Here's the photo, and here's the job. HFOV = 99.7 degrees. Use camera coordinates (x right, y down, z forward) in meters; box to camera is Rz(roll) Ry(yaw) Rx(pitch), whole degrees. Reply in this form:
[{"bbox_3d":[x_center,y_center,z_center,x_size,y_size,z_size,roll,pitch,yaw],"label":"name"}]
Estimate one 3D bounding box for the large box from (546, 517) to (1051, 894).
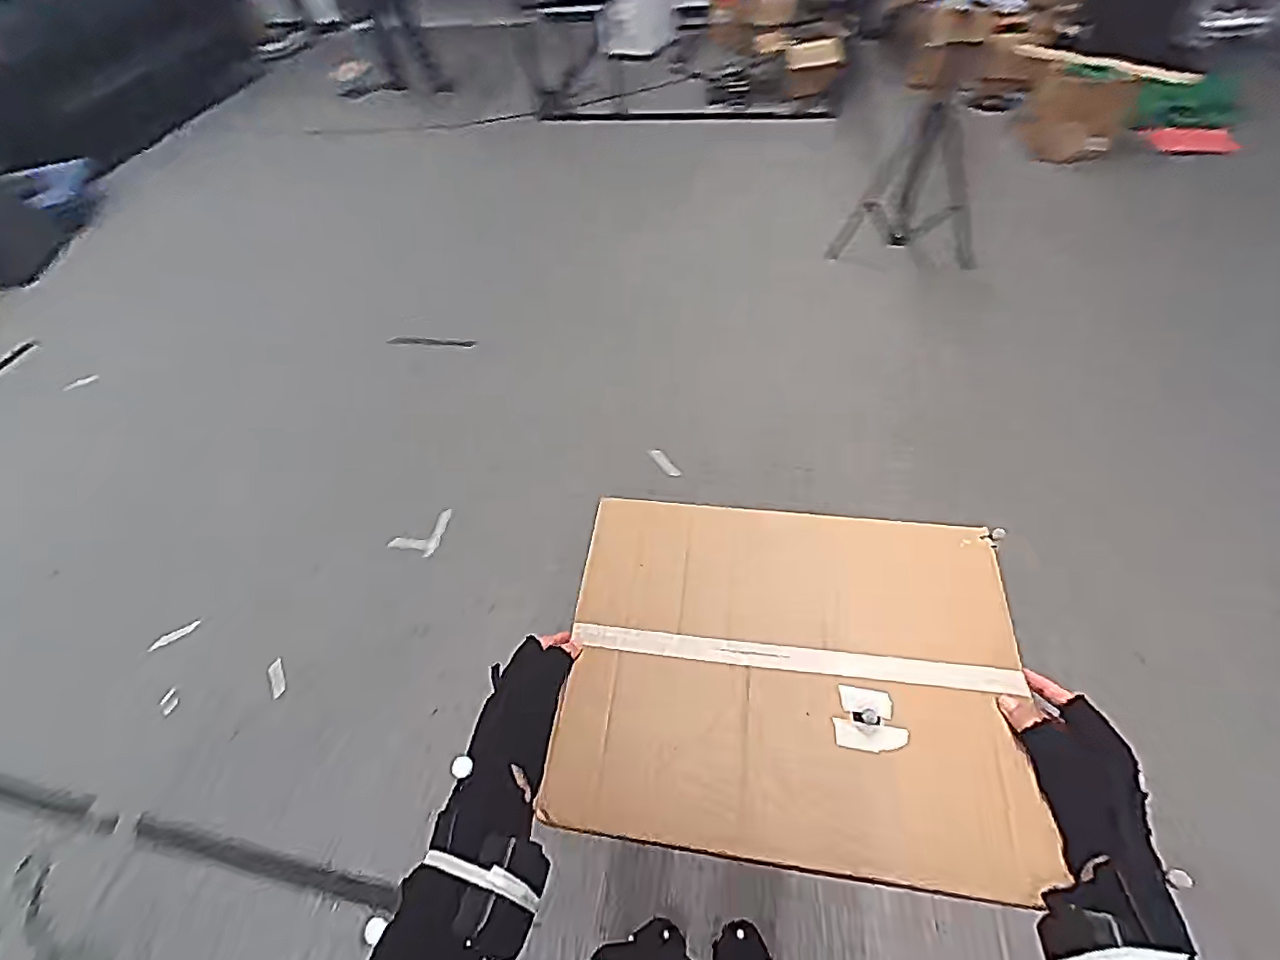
[{"bbox_3d":[0.140,0.261,0.633,0.408,0.320,0.320,3,57,7],"label":"large box"}]
